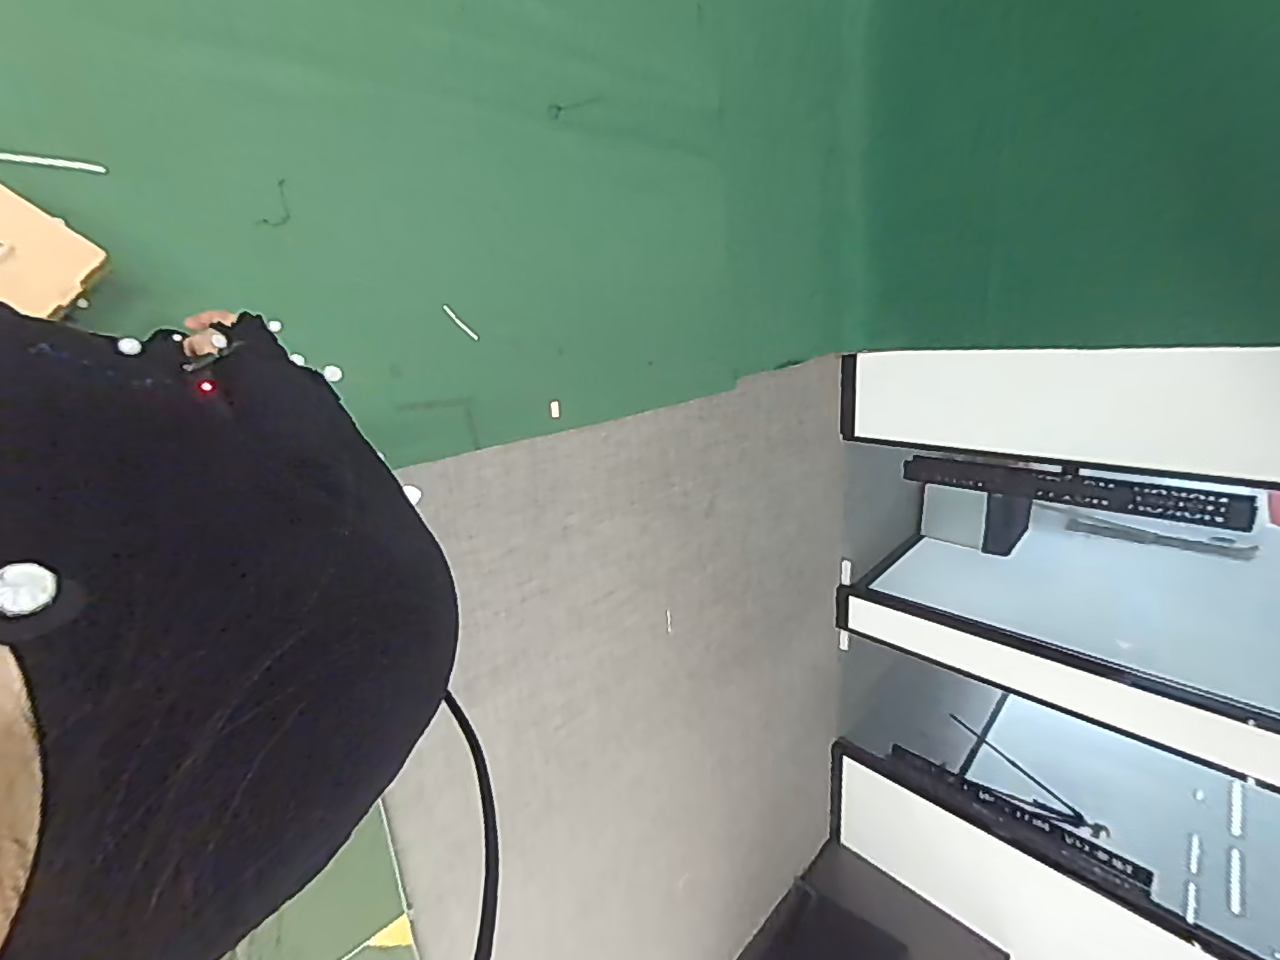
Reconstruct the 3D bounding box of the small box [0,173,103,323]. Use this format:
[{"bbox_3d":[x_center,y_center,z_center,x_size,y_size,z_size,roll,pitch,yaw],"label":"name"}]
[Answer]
[{"bbox_3d":[-0.973,-0.359,0.817,0.179,0.176,0.168,43,69,-42],"label":"small box"}]
